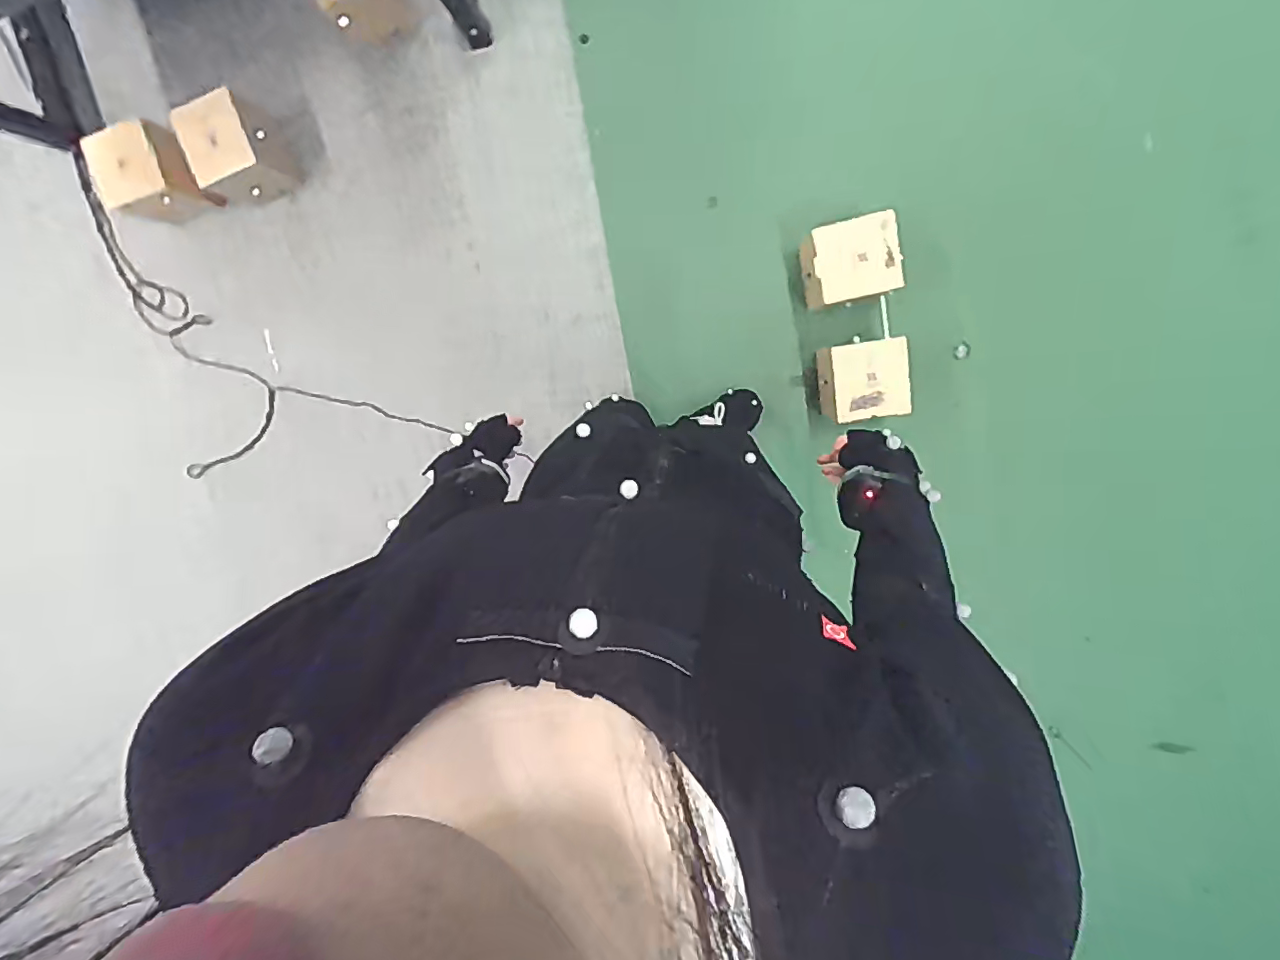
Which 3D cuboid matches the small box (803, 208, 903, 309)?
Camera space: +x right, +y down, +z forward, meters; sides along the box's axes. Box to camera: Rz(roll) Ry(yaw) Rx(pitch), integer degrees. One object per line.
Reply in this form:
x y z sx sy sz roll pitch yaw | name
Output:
0.483 -0.502 1.252 0.179 0.176 0.168 -11 101 9 | small box

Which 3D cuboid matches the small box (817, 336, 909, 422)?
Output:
0.531 -0.244 1.303 0.168 0.176 0.179 -7 101 7 | small box
